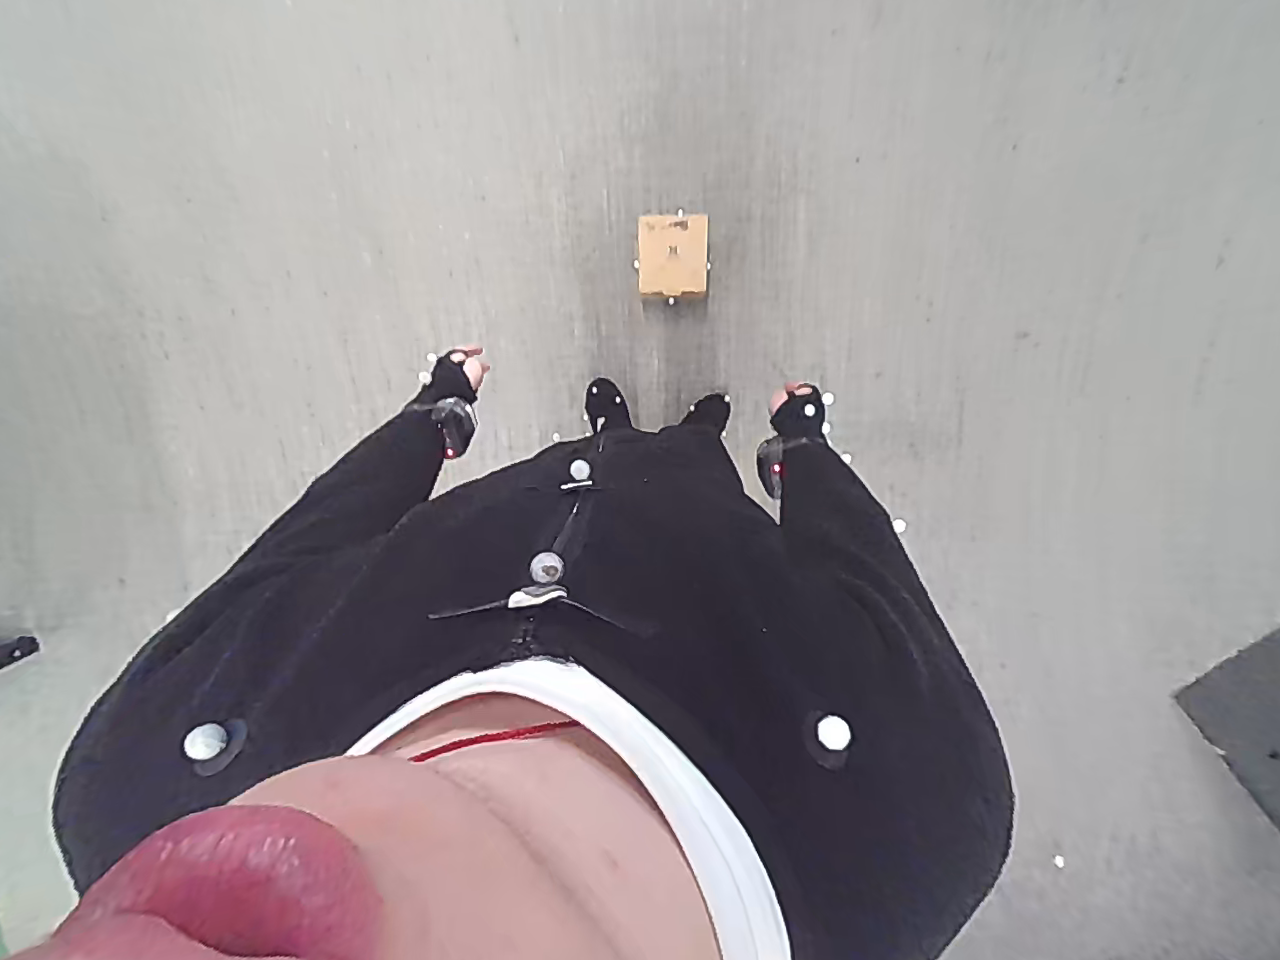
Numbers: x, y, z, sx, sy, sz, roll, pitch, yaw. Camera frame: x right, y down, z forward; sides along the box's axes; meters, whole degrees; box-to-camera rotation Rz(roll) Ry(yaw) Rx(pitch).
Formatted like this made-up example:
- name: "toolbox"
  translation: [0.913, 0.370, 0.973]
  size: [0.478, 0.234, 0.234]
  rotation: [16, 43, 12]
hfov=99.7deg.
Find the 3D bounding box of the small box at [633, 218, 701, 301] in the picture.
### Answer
- name: "small box"
  translation: [0.070, -0.556, 1.387]
  size: [0.168, 0.176, 0.179]
  rotation: [-2, 102, 2]
